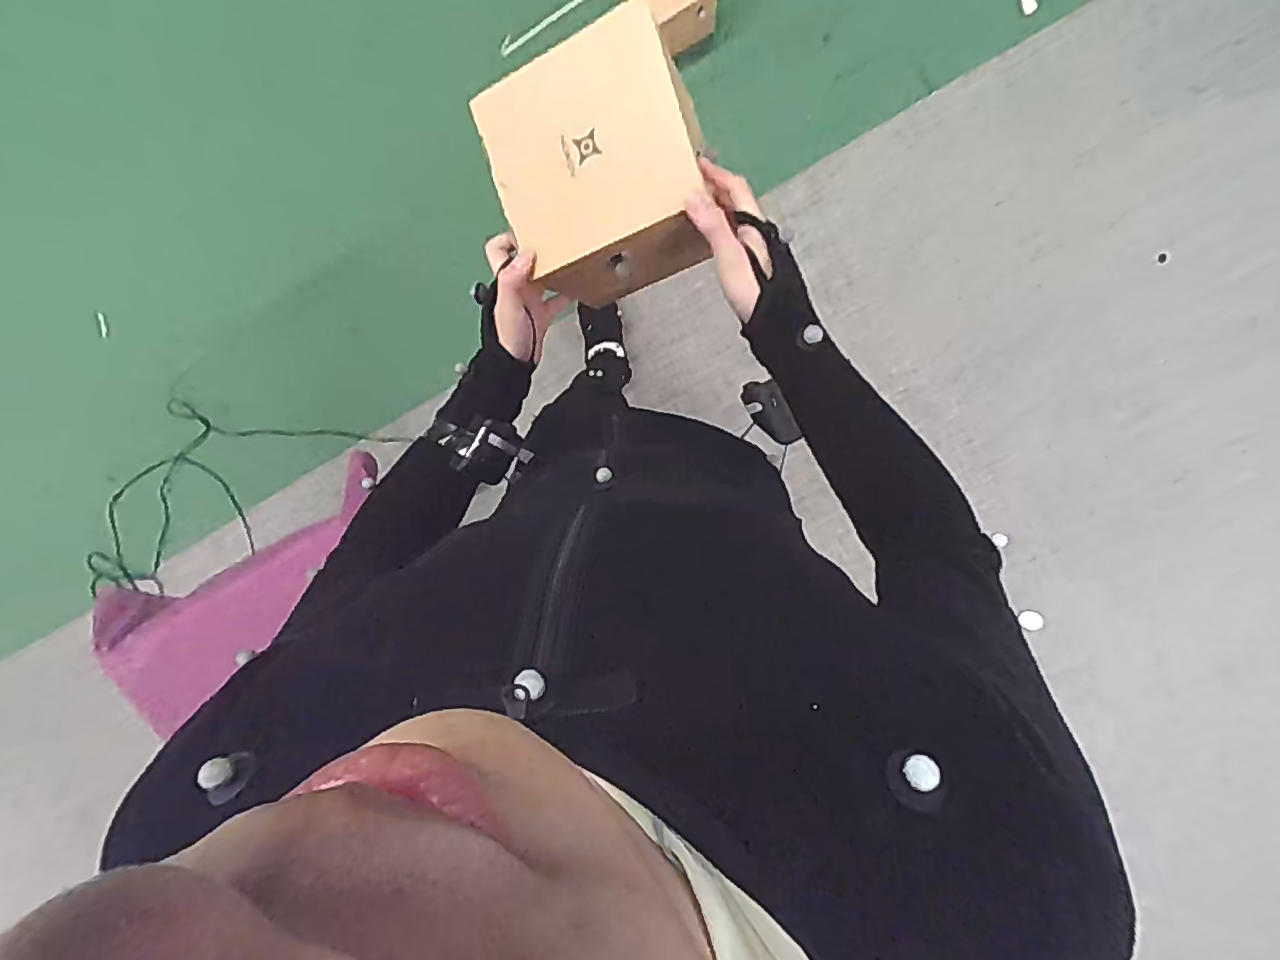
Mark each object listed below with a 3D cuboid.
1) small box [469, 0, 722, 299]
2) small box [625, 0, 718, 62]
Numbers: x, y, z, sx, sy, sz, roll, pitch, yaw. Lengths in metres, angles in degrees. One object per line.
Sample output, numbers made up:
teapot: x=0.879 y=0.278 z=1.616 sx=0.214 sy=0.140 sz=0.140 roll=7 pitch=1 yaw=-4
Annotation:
small box: x=-0.027 y=-0.294 z=0.530 sx=0.179 sy=0.176 sz=0.168 roll=-16 pitch=94 yaw=21
small box: x=0.069 y=-1.147 z=1.298 sx=0.179 sy=0.176 sz=0.168 roll=-26 pitch=98 yaw=8
